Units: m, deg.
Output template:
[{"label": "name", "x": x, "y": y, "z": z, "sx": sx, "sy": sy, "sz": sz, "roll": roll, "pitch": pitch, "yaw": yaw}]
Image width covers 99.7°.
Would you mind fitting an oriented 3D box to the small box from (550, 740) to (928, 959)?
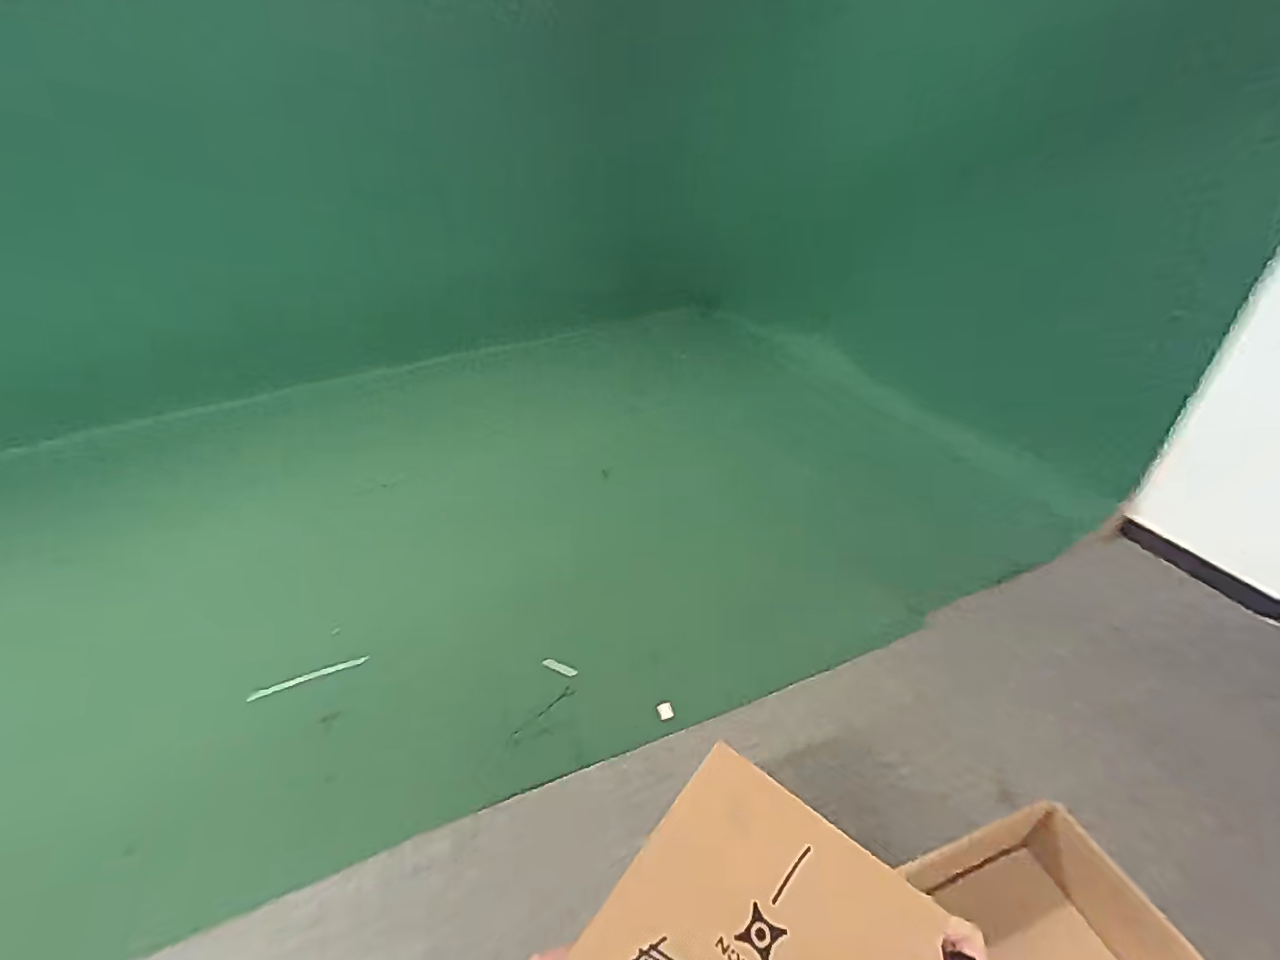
[{"label": "small box", "x": 0.065, "y": 0.330, "z": 0.369, "sx": 0.168, "sy": 0.176, "sz": 0.179, "roll": 25, "pitch": 52, "yaw": 32}]
